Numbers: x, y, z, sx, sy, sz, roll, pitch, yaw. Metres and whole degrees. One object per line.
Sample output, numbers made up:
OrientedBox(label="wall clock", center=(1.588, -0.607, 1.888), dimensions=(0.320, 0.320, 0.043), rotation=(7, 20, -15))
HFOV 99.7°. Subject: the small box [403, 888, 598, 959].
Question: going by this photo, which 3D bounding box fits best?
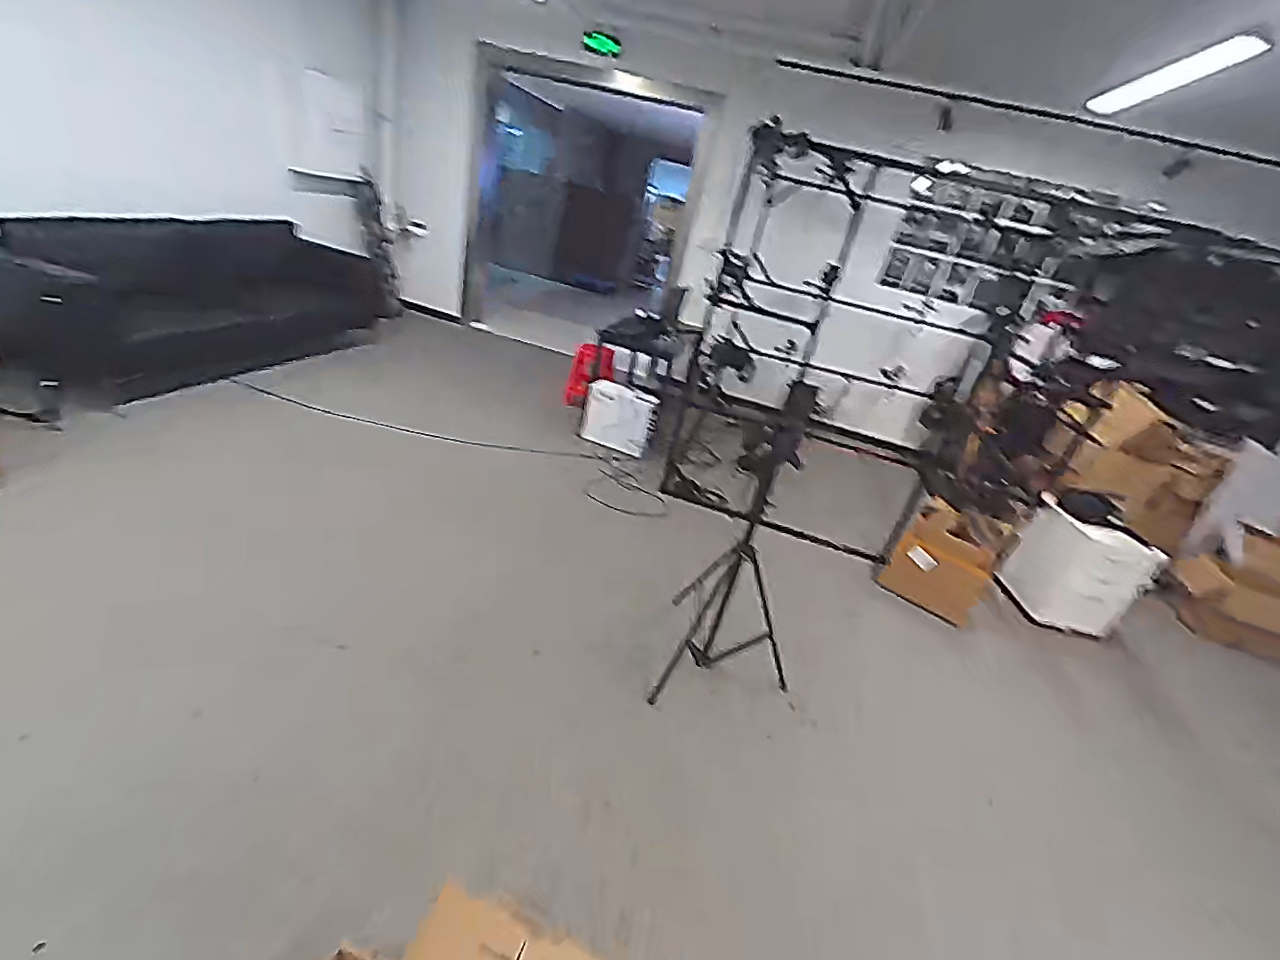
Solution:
OrientedBox(label="small box", center=(-0.132, 0.455, 0.384), dimensions=(0.168, 0.176, 0.179), rotation=(26, 23, -2))
